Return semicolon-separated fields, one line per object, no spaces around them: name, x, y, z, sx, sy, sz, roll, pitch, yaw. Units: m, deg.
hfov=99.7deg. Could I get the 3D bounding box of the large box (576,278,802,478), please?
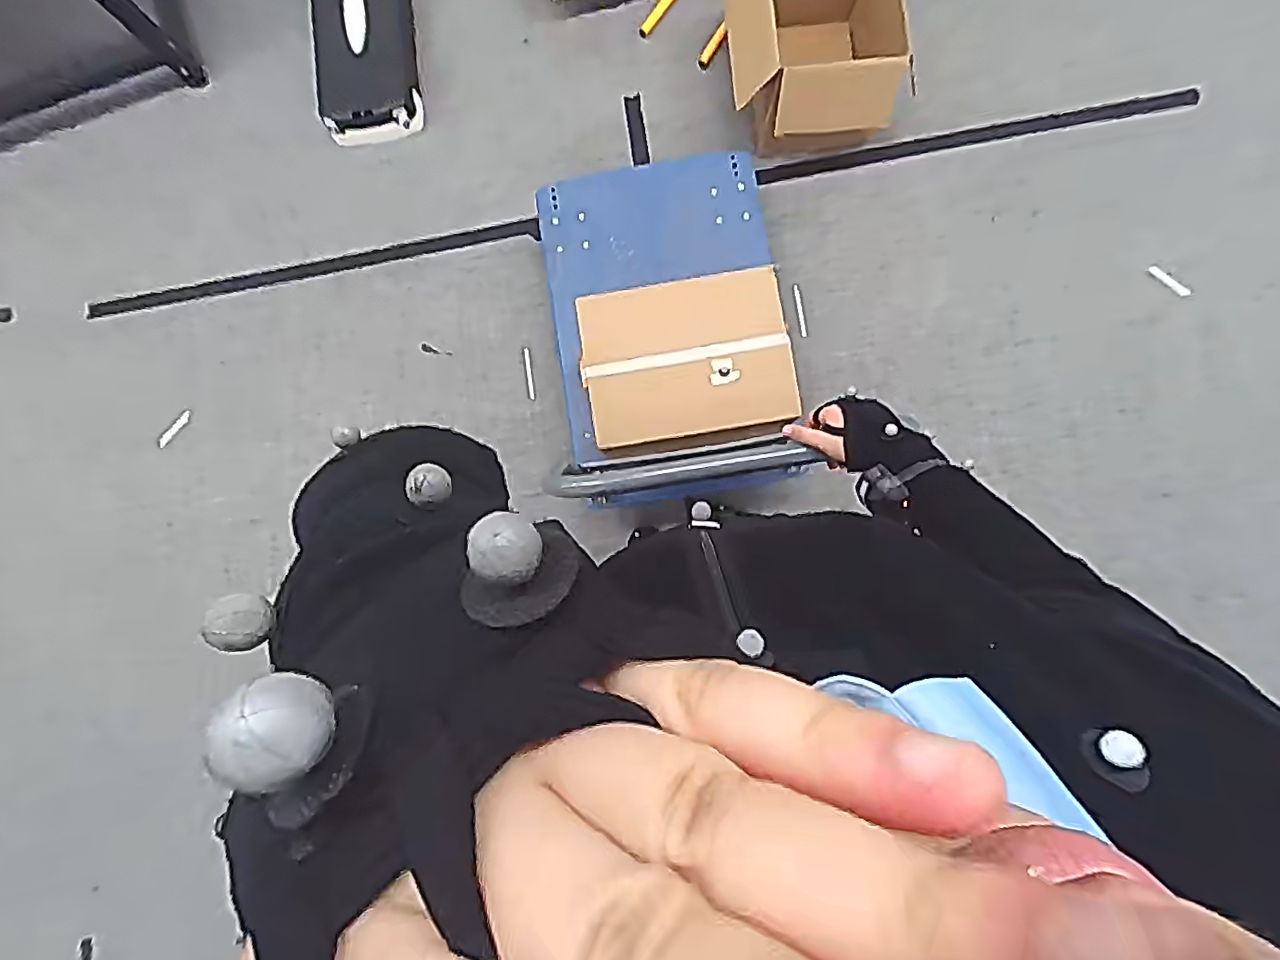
large box;0.095;-0.201;1.203;0.408;0.320;0.320;-9;84;1
